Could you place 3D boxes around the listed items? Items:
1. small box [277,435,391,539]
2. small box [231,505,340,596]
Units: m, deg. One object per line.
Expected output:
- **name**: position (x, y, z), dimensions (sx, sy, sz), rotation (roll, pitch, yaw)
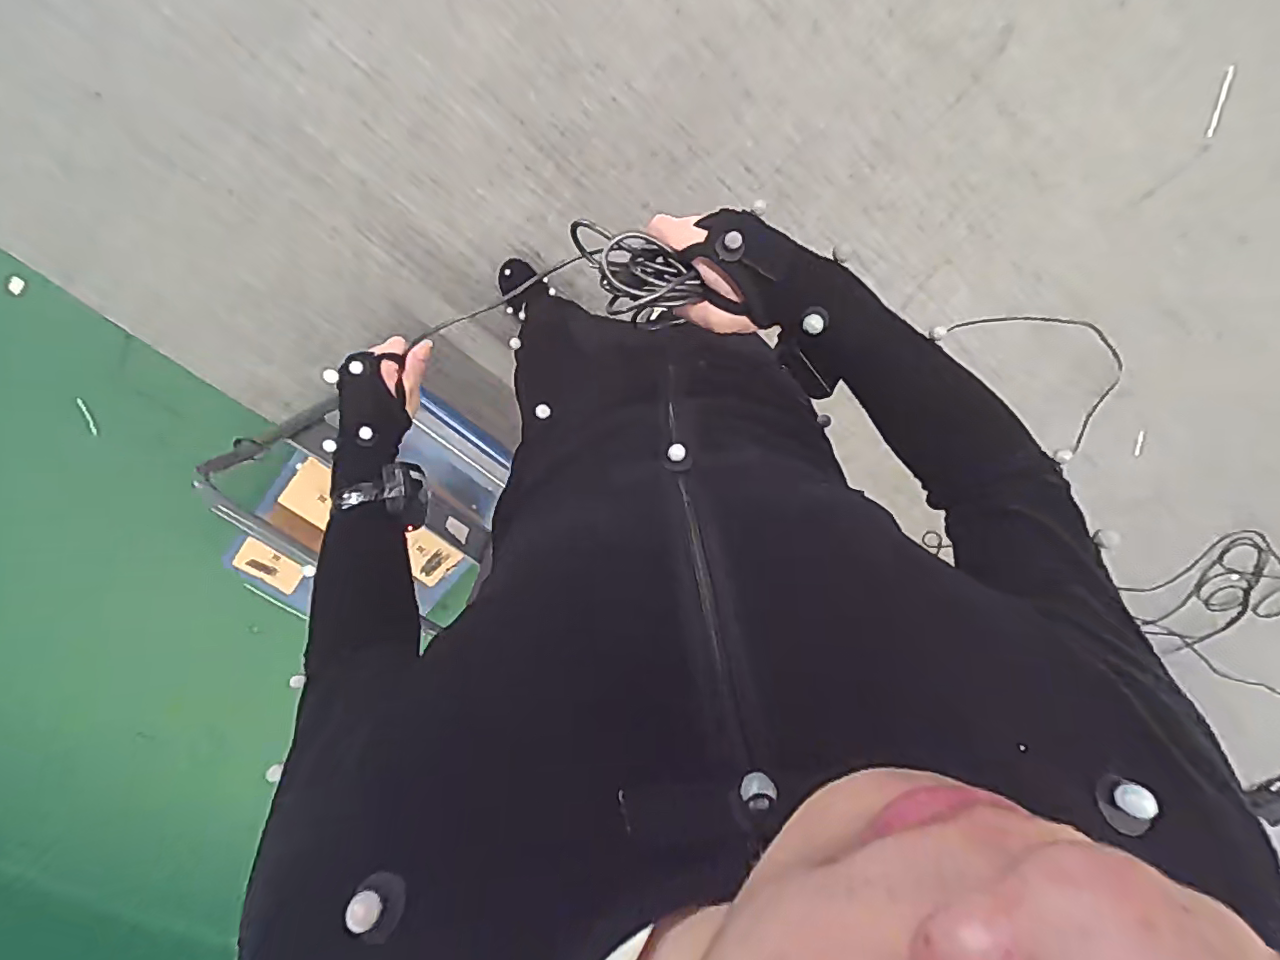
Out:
- **small box**: position (-0.790, 0.014, 1.418), dimensions (0.168, 0.176, 0.179), rotation (40, 109, -18)
- **small box**: position (-0.968, 0.179, 1.496), dimensions (0.168, 0.176, 0.179), rotation (37, 110, -18)
